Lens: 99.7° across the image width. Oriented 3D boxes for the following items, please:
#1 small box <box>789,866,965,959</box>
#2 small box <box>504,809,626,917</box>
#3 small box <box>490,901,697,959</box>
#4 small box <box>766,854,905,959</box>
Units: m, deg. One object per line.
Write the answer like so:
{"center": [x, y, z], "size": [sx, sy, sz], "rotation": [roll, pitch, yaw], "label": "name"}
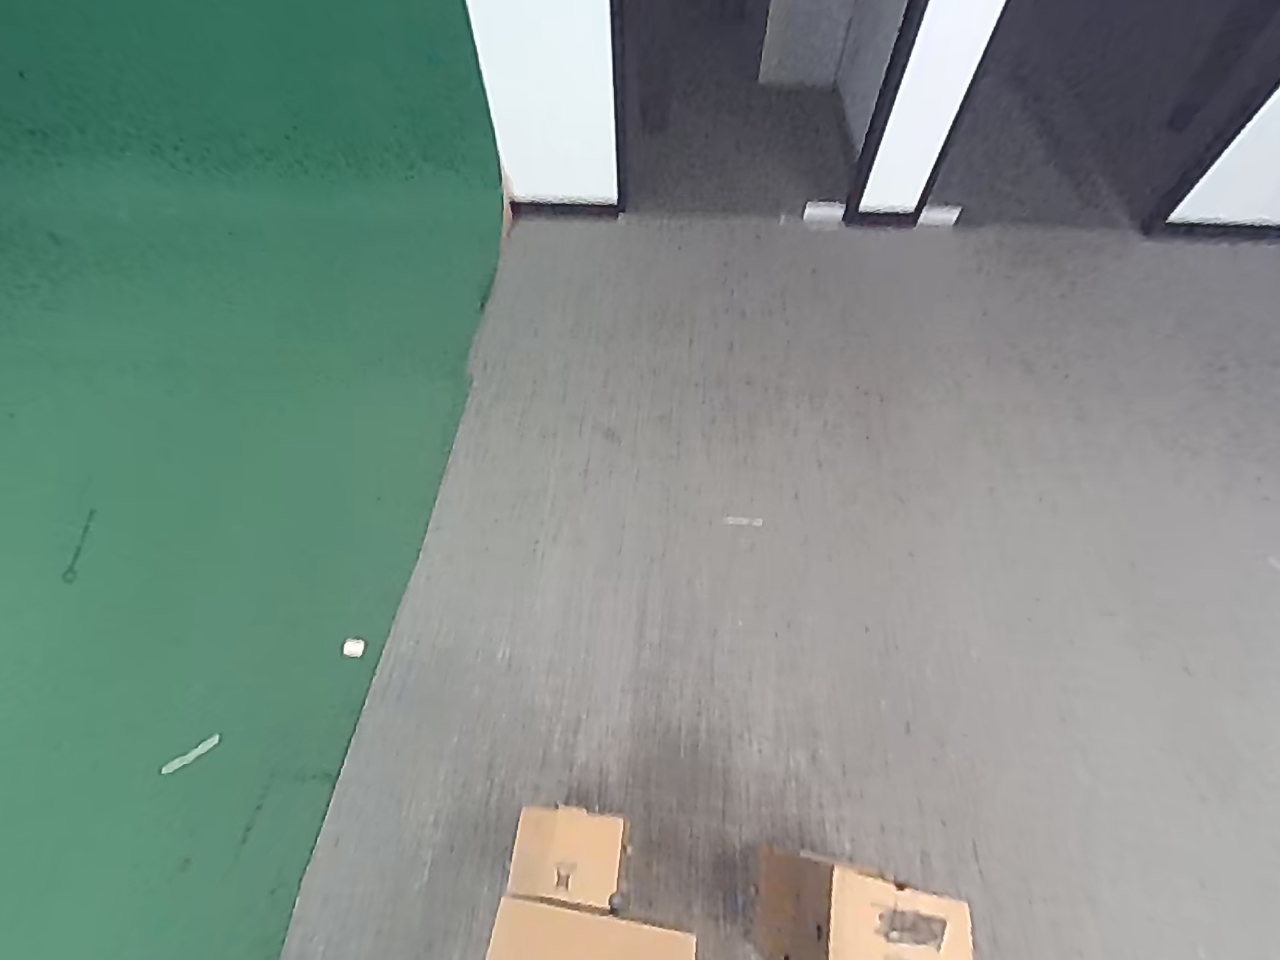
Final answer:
{"center": [0.295, 0.625, 0.698], "size": [0.168, 0.176, 0.179], "rotation": [12, 60, 8], "label": "small box"}
{"center": [-0.115, 0.650, 0.882], "size": [0.168, 0.176, 0.179], "rotation": [4, 58, 5], "label": "small box"}
{"center": [-0.045, 0.479, 0.456], "size": [0.168, 0.176, 0.179], "rotation": [5, 54, 8], "label": "small box"}
{"center": [0.298, 0.706, 0.842], "size": [0.168, 0.176, 0.179], "rotation": [10, 59, 7], "label": "small box"}
